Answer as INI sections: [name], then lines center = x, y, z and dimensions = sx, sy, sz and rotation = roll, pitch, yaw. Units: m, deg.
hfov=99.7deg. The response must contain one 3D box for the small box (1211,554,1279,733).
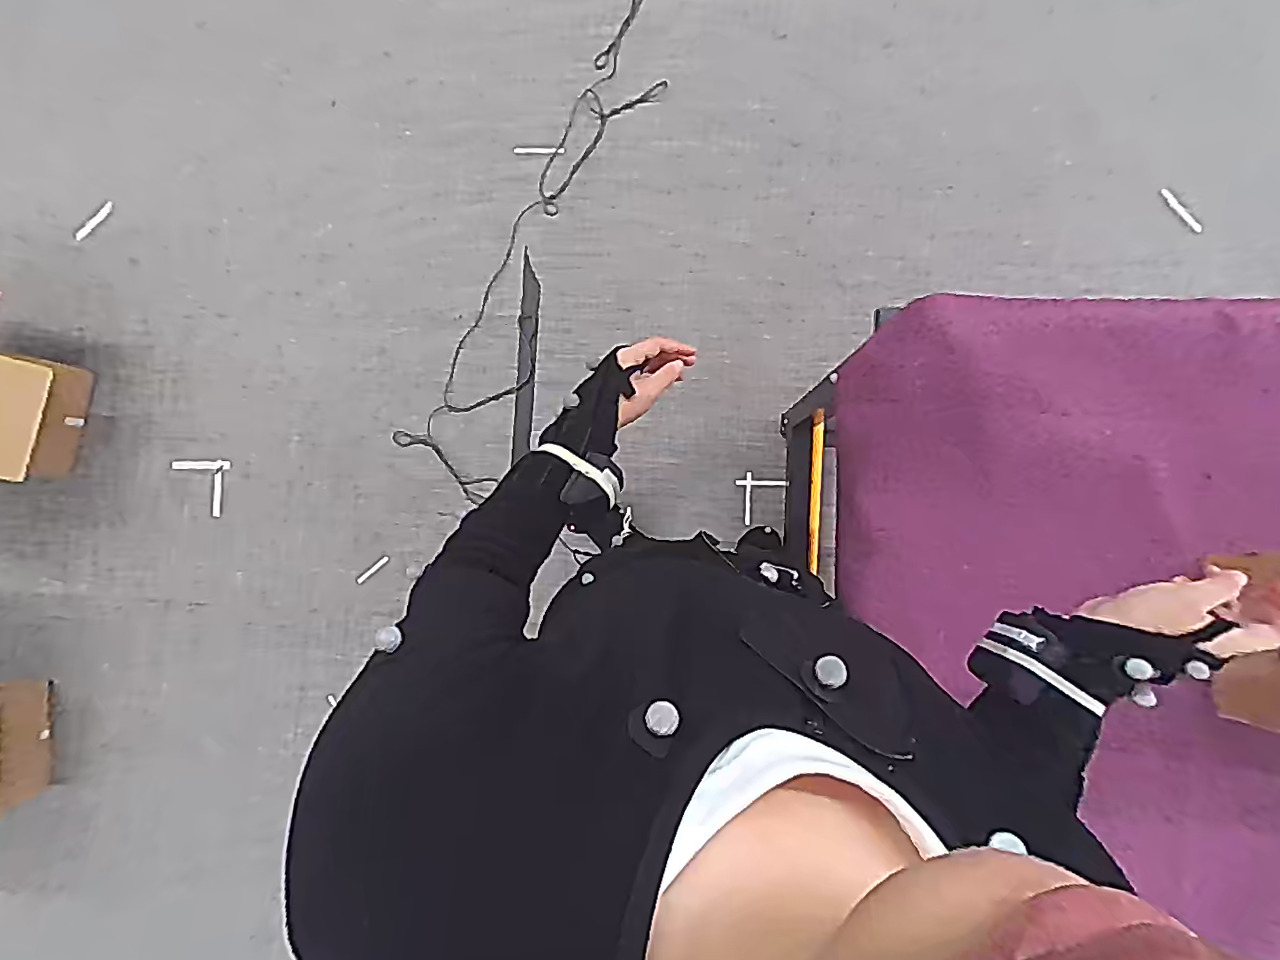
[small box]
center = 0.711, 0.164, 0.510
dimensions = 0.176, 0.168, 0.179
rotation = 6, 81, 4
